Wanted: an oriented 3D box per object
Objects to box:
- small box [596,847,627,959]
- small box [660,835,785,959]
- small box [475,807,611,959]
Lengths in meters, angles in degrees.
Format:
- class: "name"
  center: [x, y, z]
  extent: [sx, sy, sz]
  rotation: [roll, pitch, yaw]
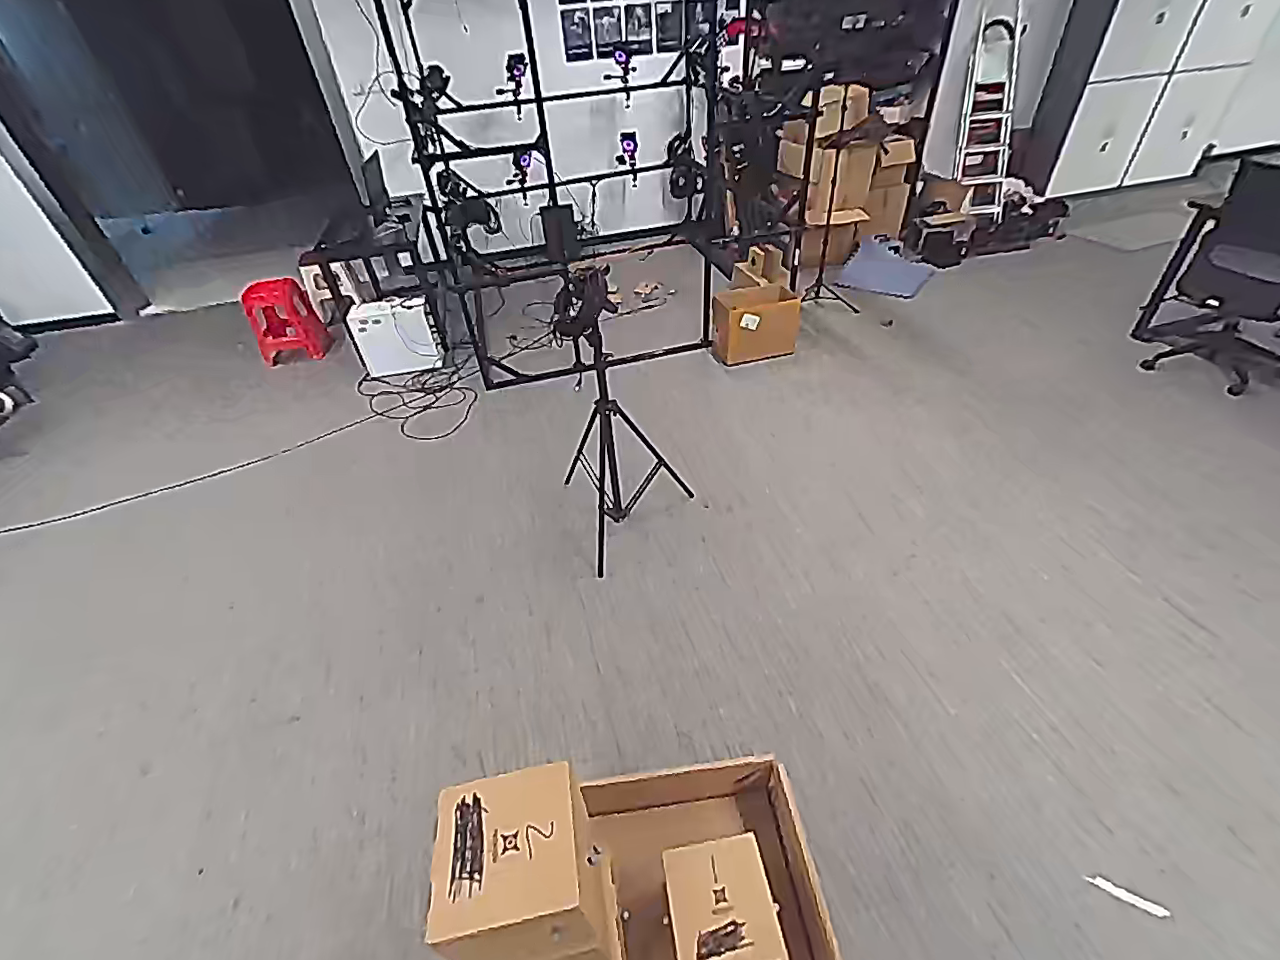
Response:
- class: "small box"
  center: [-0.122, 0.759, 0.918]
  extent: [0.179, 0.176, 0.168]
  rotation: [-9, 40, -5]
- class: "small box"
  center: [0.134, 0.739, 0.913]
  extent: [0.168, 0.176, 0.179]
  rotation: [-9, 39, -4]
- class: "small box"
  center: [-0.143, 0.635, 0.813]
  extent: [0.168, 0.176, 0.179]
  rotation: [-11, 40, -6]
